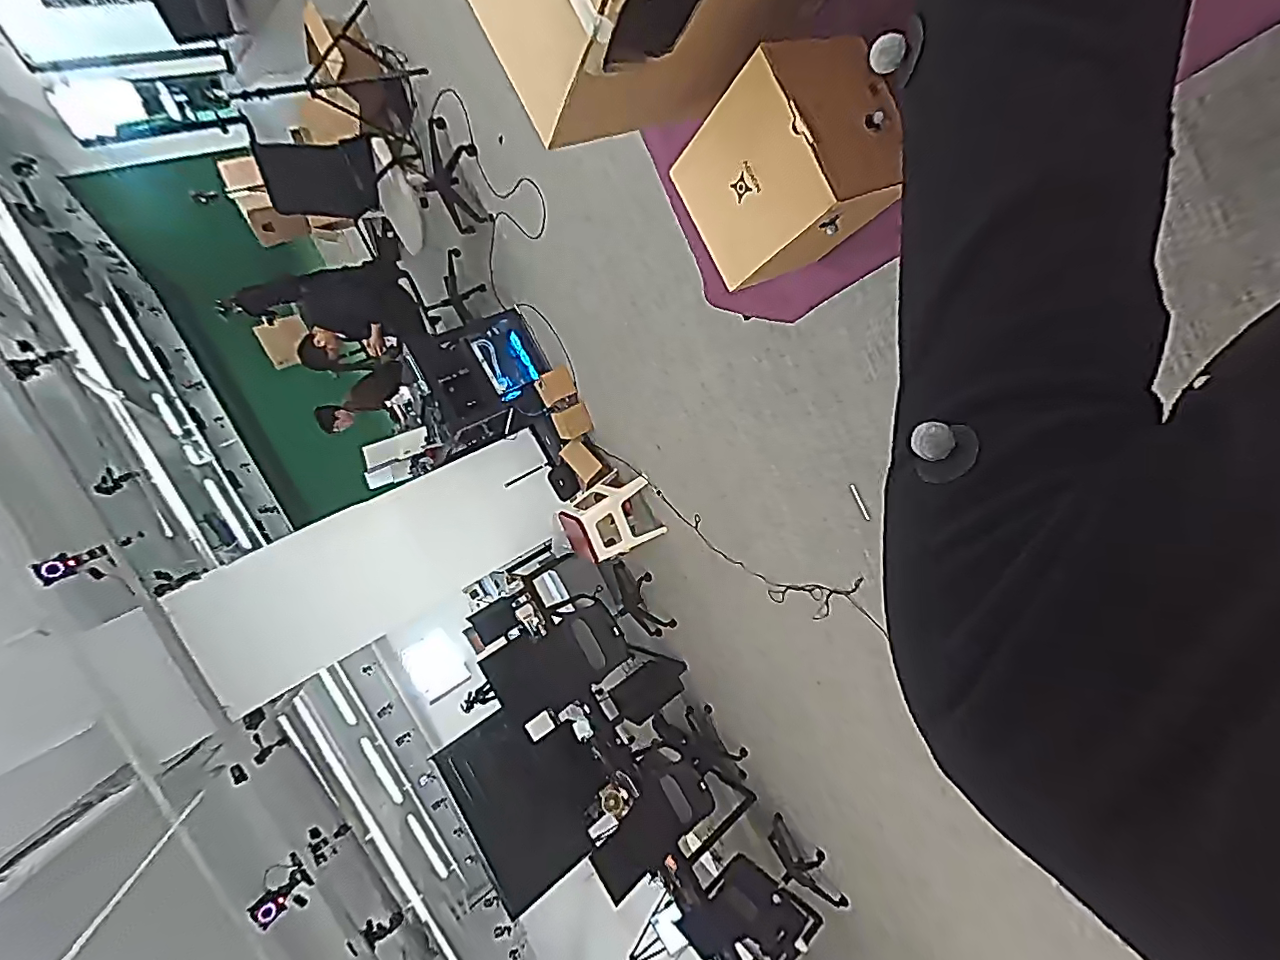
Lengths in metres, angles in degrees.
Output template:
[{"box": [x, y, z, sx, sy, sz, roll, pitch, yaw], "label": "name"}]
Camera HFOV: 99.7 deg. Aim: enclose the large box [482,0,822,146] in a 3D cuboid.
[{"box": [-0.005, -0.633, 0.513, 0.408, 0.320, 0.320, 60, 155, -6], "label": "large box"}]
